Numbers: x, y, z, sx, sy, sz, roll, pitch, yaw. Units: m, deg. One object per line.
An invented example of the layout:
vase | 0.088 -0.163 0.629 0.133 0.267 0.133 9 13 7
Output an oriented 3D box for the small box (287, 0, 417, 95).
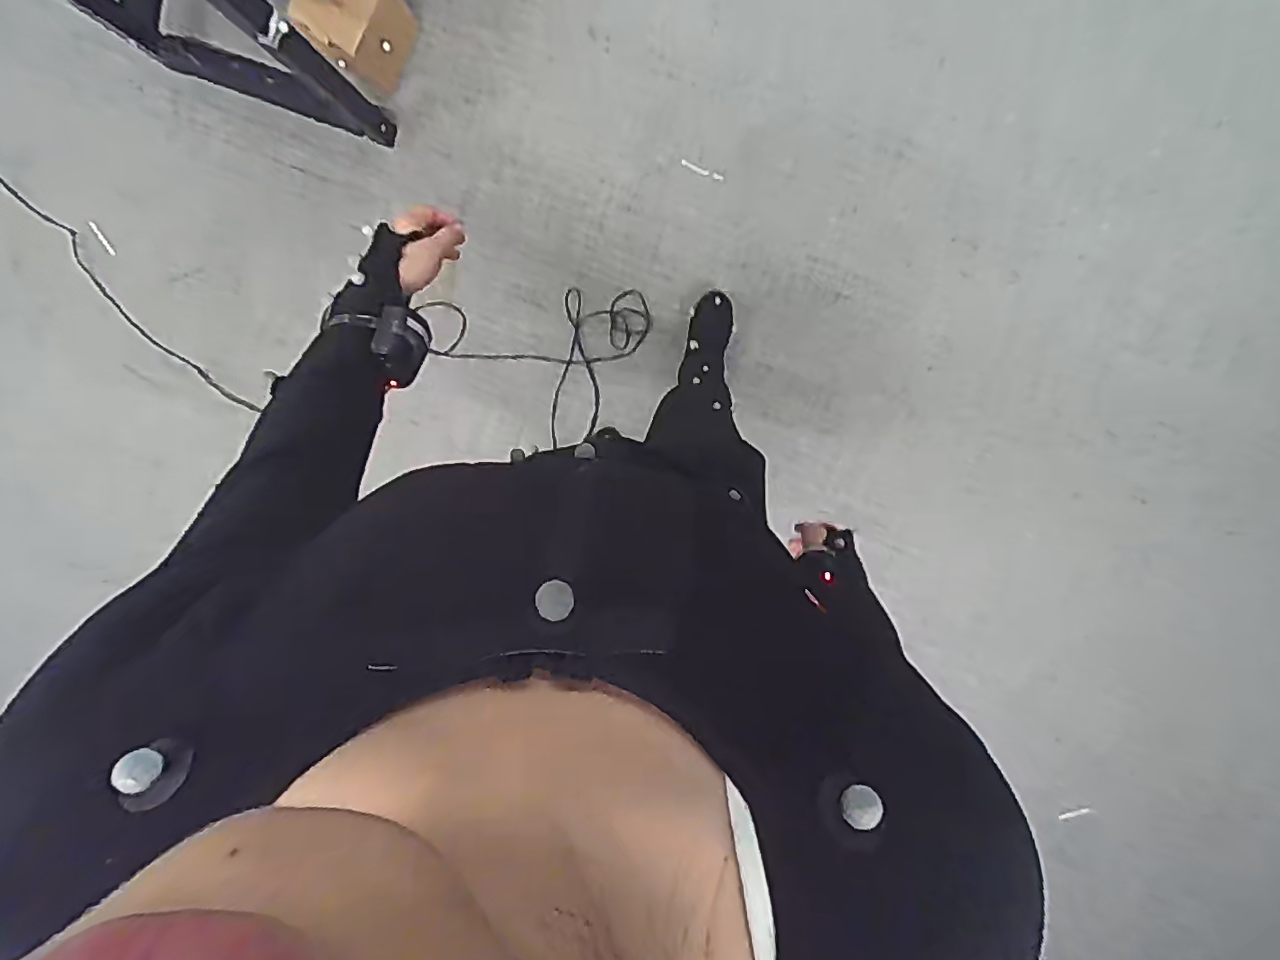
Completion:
small box | -0.636 -1.025 1.216 0.168 0.176 0.179 32 100 -5
